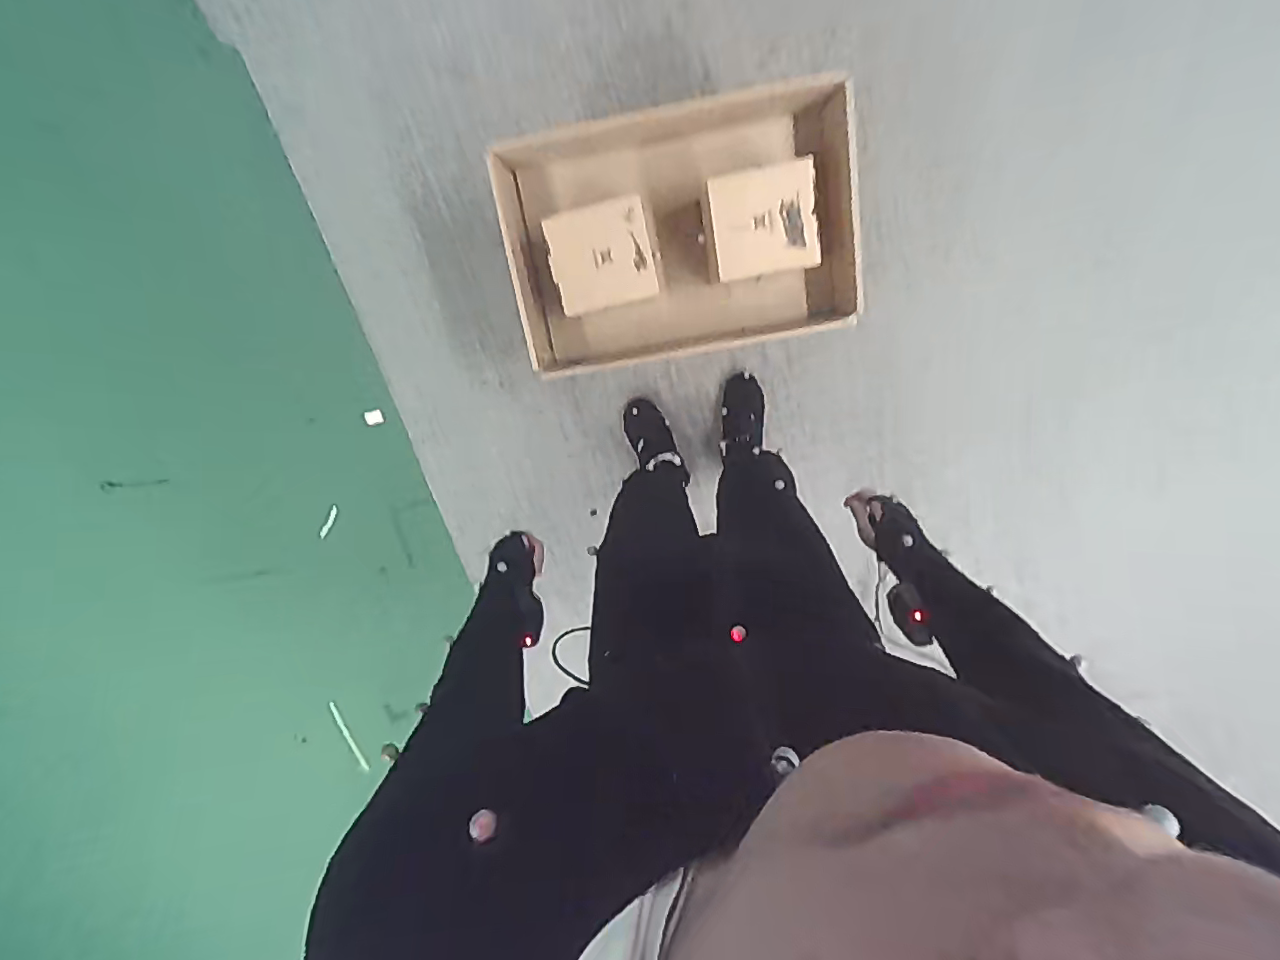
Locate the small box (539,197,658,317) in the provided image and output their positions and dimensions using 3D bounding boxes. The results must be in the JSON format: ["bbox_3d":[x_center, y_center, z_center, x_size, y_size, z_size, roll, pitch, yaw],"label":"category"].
[{"bbox_3d":[-0.066,-0.400,0.998,0.179,0.176,0.168,-11,107,6],"label":"small box"}]
